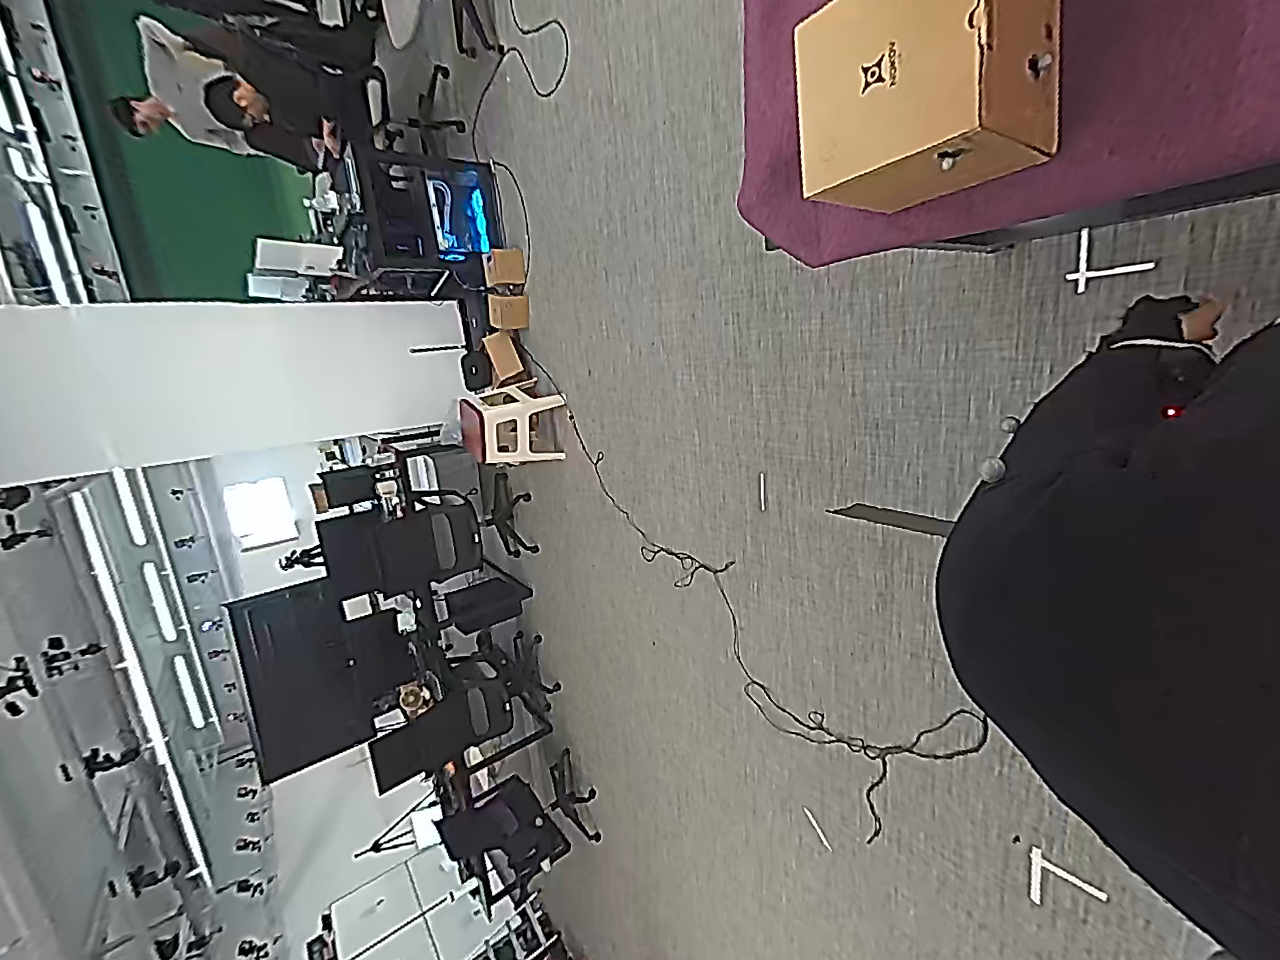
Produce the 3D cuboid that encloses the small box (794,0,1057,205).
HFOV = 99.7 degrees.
[{"bbox_3d":[0.280,-0.392,0.539,0.179,0.176,0.168,6,106,53],"label":"small box"}]
